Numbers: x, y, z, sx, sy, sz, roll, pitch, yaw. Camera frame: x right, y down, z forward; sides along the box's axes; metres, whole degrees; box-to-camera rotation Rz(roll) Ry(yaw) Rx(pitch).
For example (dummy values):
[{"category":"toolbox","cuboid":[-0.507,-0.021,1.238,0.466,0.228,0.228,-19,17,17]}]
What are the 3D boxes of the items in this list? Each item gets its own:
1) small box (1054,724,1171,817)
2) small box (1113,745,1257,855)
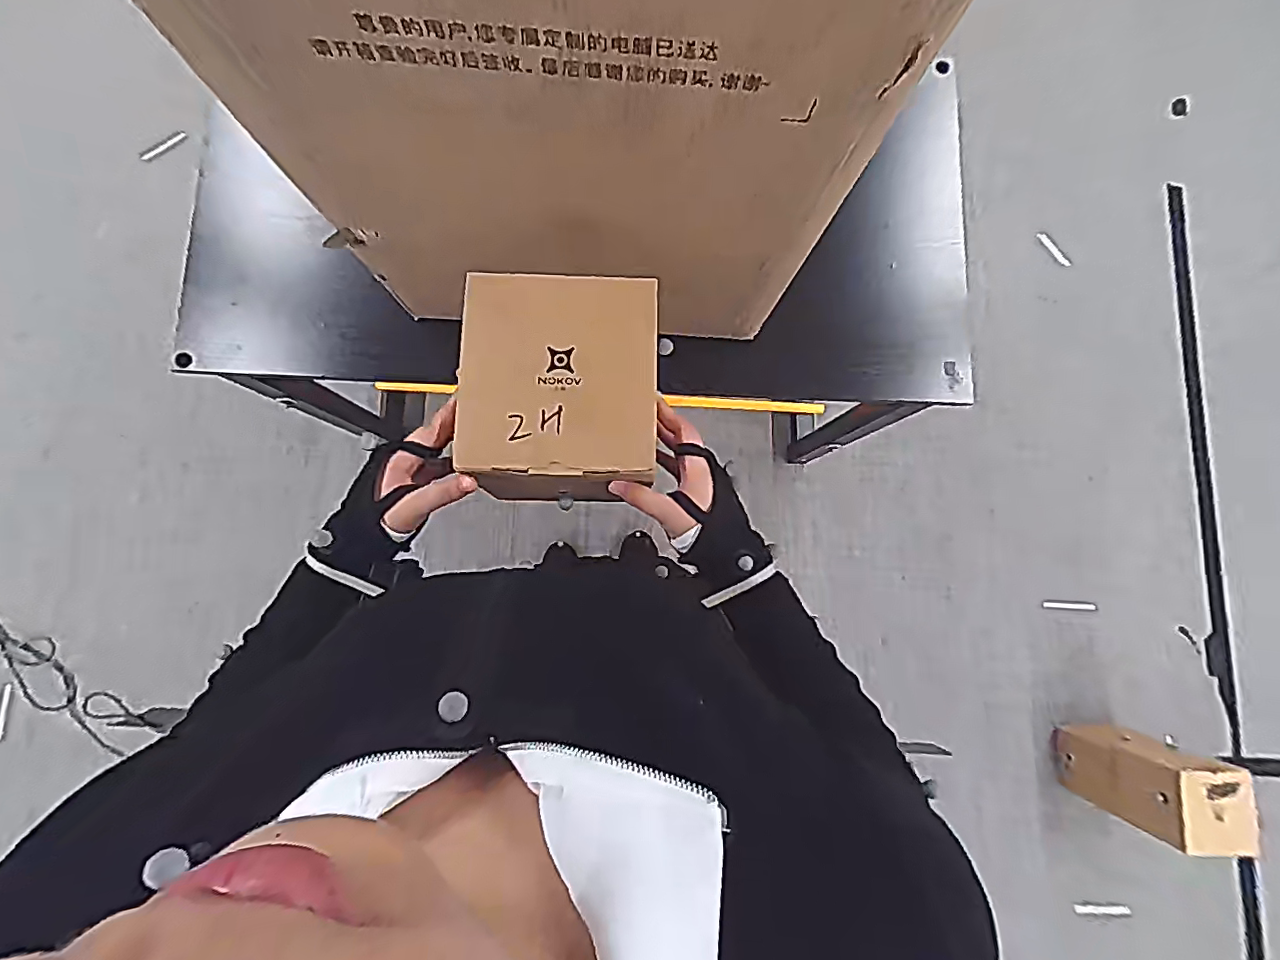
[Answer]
[{"category":"small box","cuboid":[1.243,0.753,1.418,0.179,0.176,0.168,-3,82,-2]},{"category":"small box","cuboid":[1.251,0.732,1.255,0.168,0.176,0.179,2,83,-2]}]
